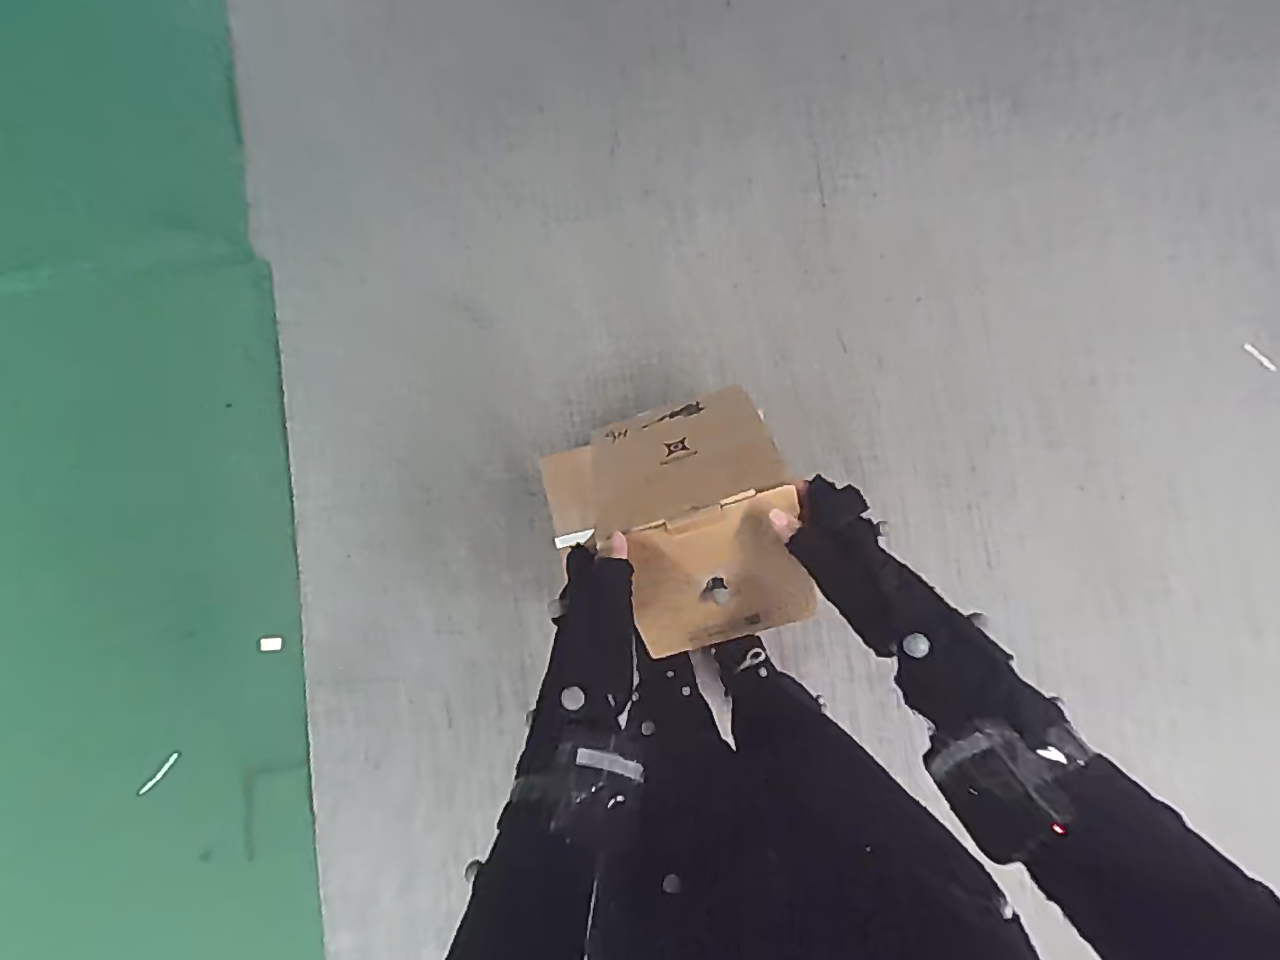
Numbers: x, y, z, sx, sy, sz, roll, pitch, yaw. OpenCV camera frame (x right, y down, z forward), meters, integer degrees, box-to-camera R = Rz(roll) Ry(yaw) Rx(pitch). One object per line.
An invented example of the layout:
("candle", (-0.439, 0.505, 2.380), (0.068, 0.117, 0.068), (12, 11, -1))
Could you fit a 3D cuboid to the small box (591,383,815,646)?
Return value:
("small box", (0.059, 0.039, 0.529), (0.168, 0.179, 0.176), (-18, 127, 7))
